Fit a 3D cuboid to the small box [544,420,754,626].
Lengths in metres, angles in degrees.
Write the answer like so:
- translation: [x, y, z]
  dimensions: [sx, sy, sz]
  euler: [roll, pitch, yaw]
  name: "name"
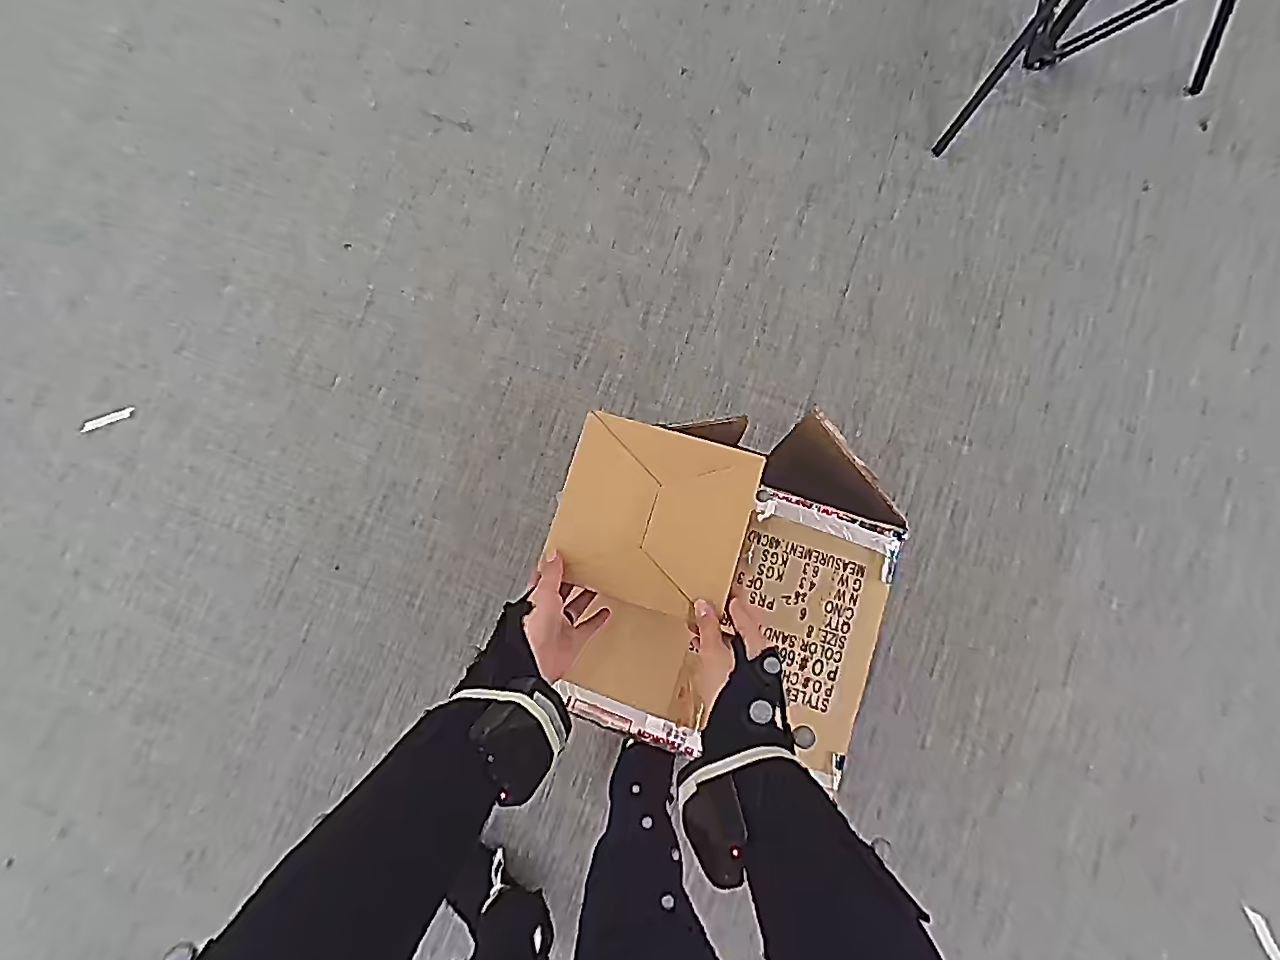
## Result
- translation: [0.018, 0.047, 0.586]
  dimensions: [0.179, 0.176, 0.168]
  euler: [16, 84, 7]
  name: "small box"
